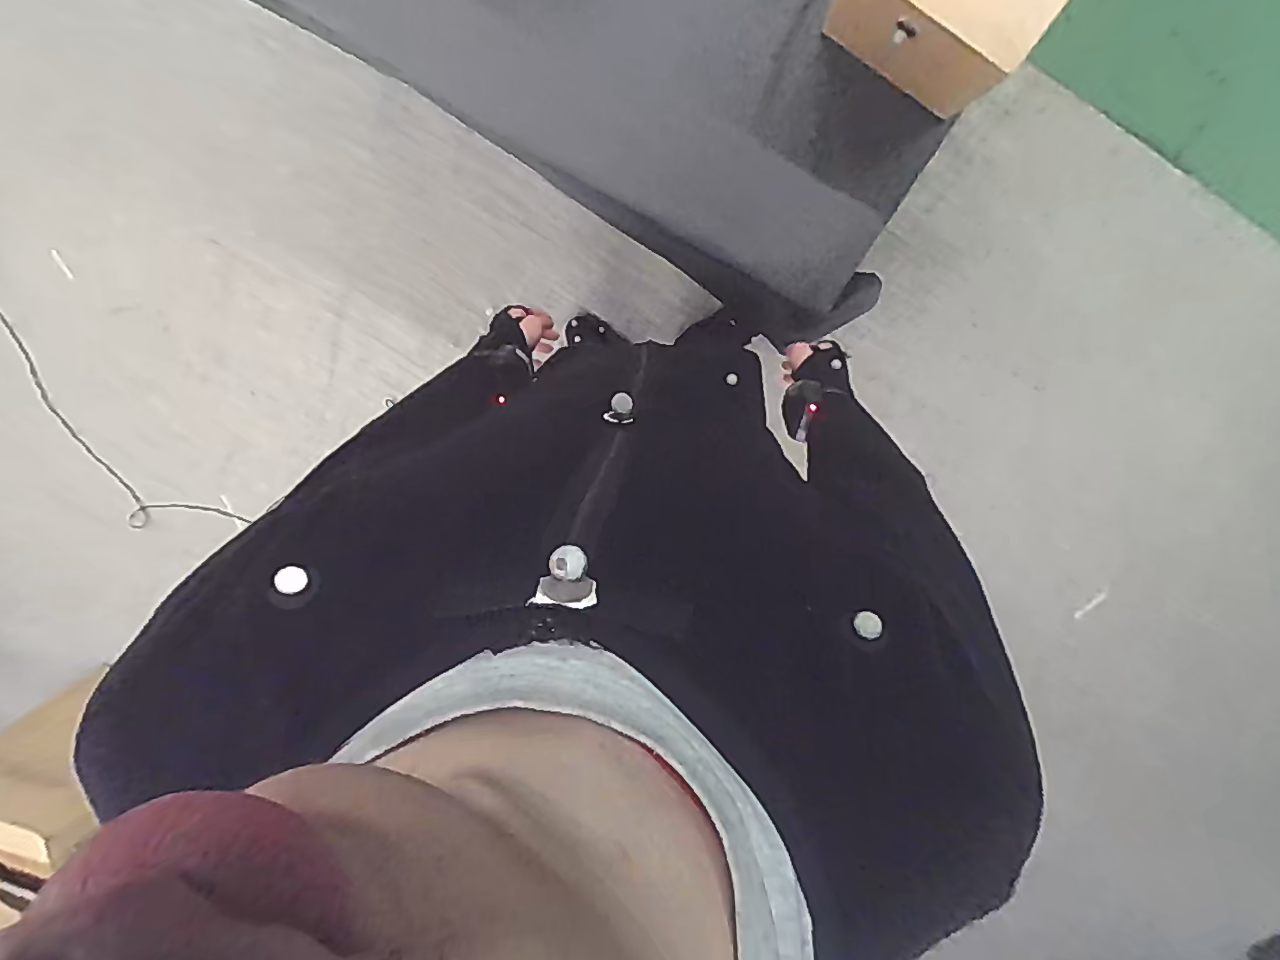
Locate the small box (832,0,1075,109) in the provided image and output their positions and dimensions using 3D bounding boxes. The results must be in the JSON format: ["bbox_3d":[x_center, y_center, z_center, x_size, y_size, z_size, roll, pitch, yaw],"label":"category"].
[{"bbox_3d":[0.309,-0.489,0.504,0.179,0.176,0.168,31,112,-6],"label":"small box"}]
